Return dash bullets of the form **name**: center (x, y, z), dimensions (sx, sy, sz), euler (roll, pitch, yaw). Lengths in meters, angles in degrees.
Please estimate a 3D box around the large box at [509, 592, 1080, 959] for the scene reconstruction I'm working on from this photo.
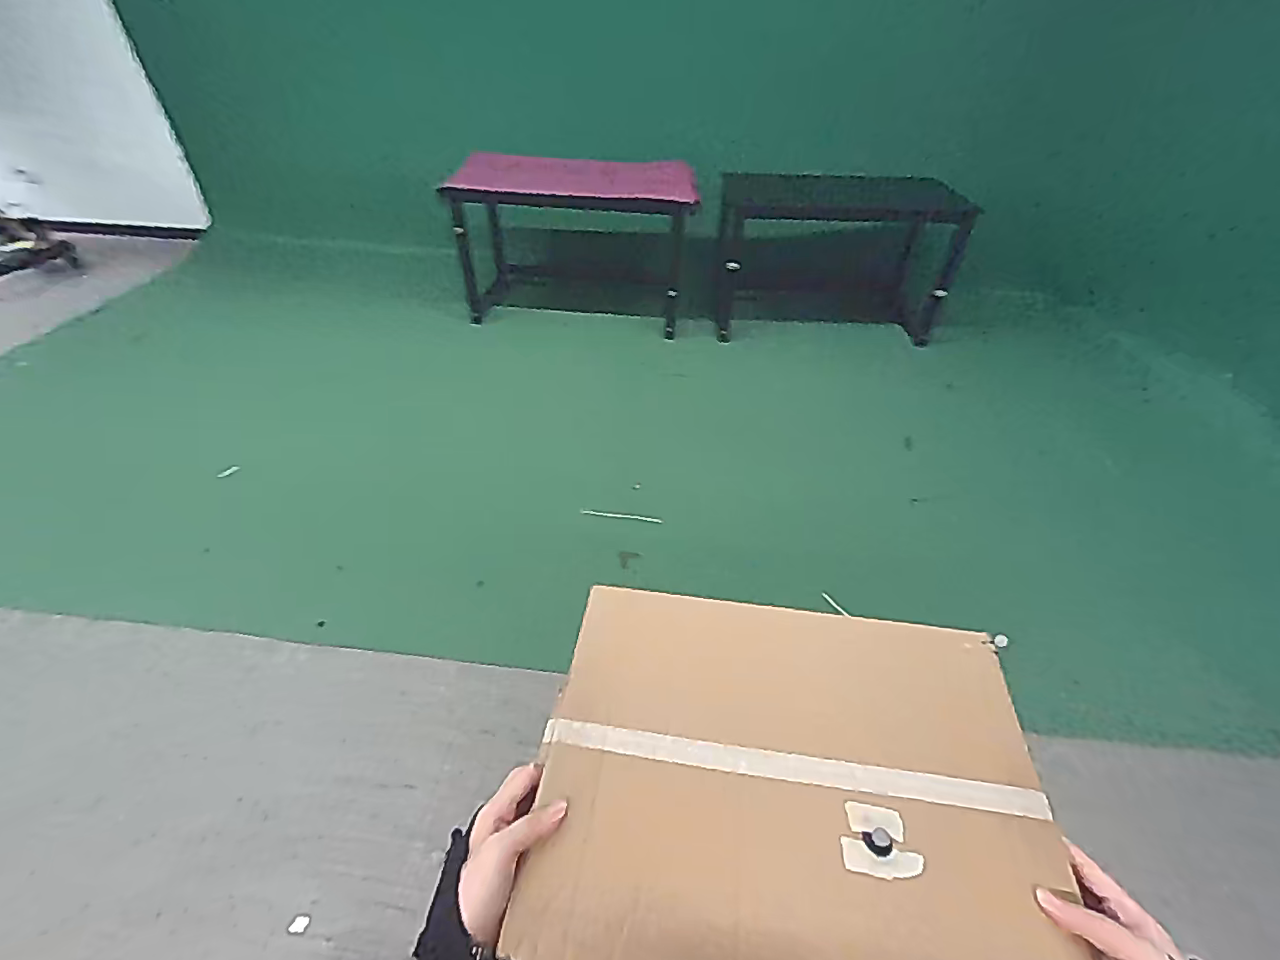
- **large box**: center (0.119, 0.350, 0.569), dimensions (0.408, 0.320, 0.320), euler (5, 45, 6)
